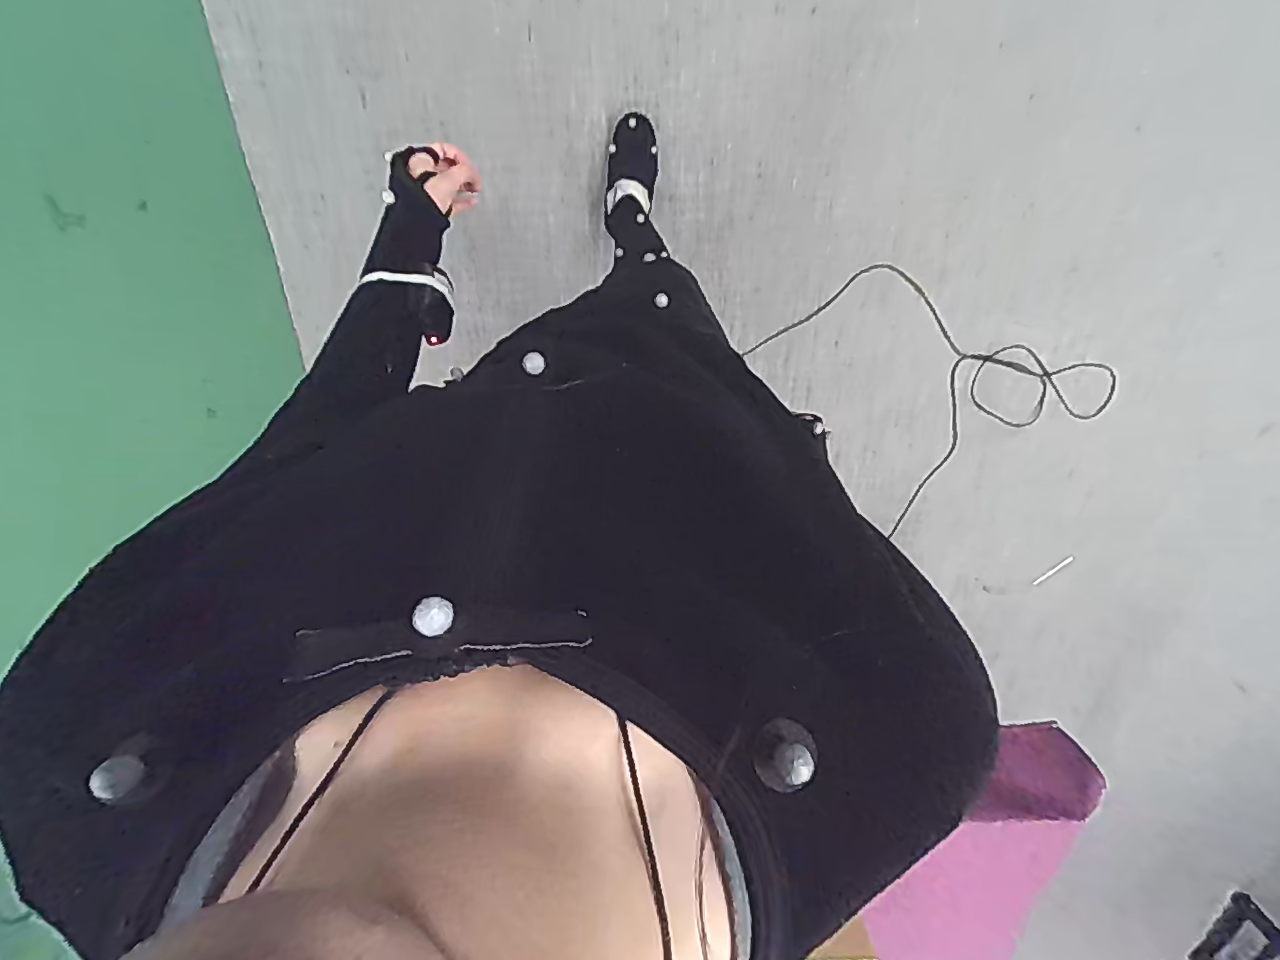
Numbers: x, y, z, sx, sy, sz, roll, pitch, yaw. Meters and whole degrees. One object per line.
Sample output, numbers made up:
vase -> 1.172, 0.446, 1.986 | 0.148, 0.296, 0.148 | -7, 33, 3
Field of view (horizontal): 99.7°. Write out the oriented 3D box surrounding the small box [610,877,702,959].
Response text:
small box -> 0.029, 0.949, 1.109 | 0.179, 0.176, 0.168 | -3, 115, -1

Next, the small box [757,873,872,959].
small box -> 0.356, 0.953, 1.124 | 0.179, 0.176, 0.168 | 1, 115, -1
